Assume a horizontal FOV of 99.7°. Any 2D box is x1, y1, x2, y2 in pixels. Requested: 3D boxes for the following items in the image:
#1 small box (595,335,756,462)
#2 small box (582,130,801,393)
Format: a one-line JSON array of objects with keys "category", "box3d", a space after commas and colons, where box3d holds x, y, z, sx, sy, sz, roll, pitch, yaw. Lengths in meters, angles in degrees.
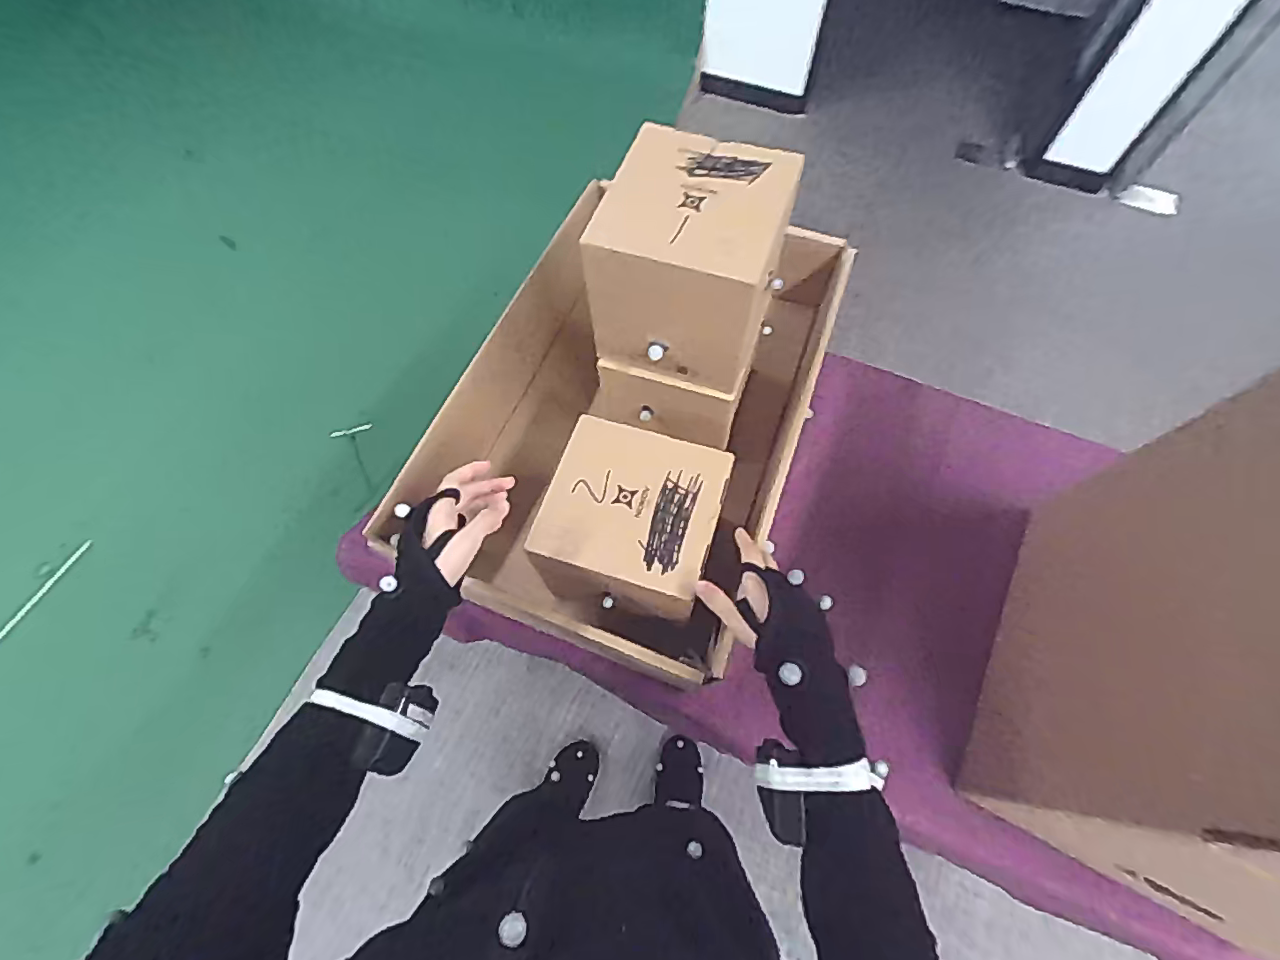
[{"category": "small box", "box3d": [0.055, -0.148, 0.721, 0.168, 0.176, 0.179, 17, 66, 10]}, {"category": "small box", "box3d": [0.053, -0.223, 0.575, 0.168, 0.176, 0.179, 18, 68, 10]}]
